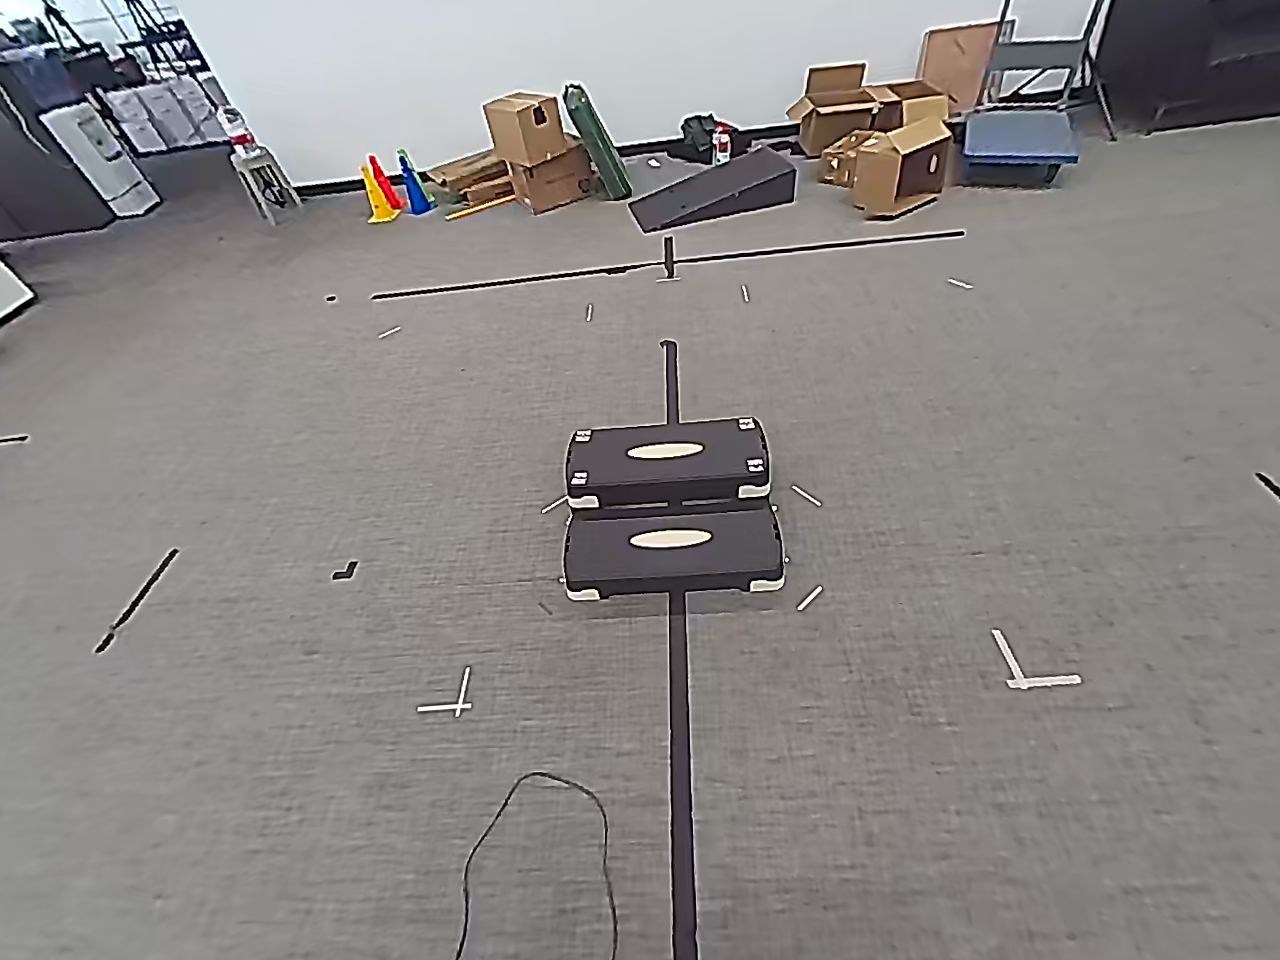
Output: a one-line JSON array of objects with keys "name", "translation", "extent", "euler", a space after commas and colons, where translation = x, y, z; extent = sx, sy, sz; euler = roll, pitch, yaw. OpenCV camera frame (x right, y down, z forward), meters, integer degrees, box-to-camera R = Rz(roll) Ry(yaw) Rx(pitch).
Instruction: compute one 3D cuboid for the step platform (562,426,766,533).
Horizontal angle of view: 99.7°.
[{"name": "step platform", "translation": [0.078, -0.006, 1.837], "extent": [0.684, 0.204, 0.286], "euler": [-4, 48, 4]}]
